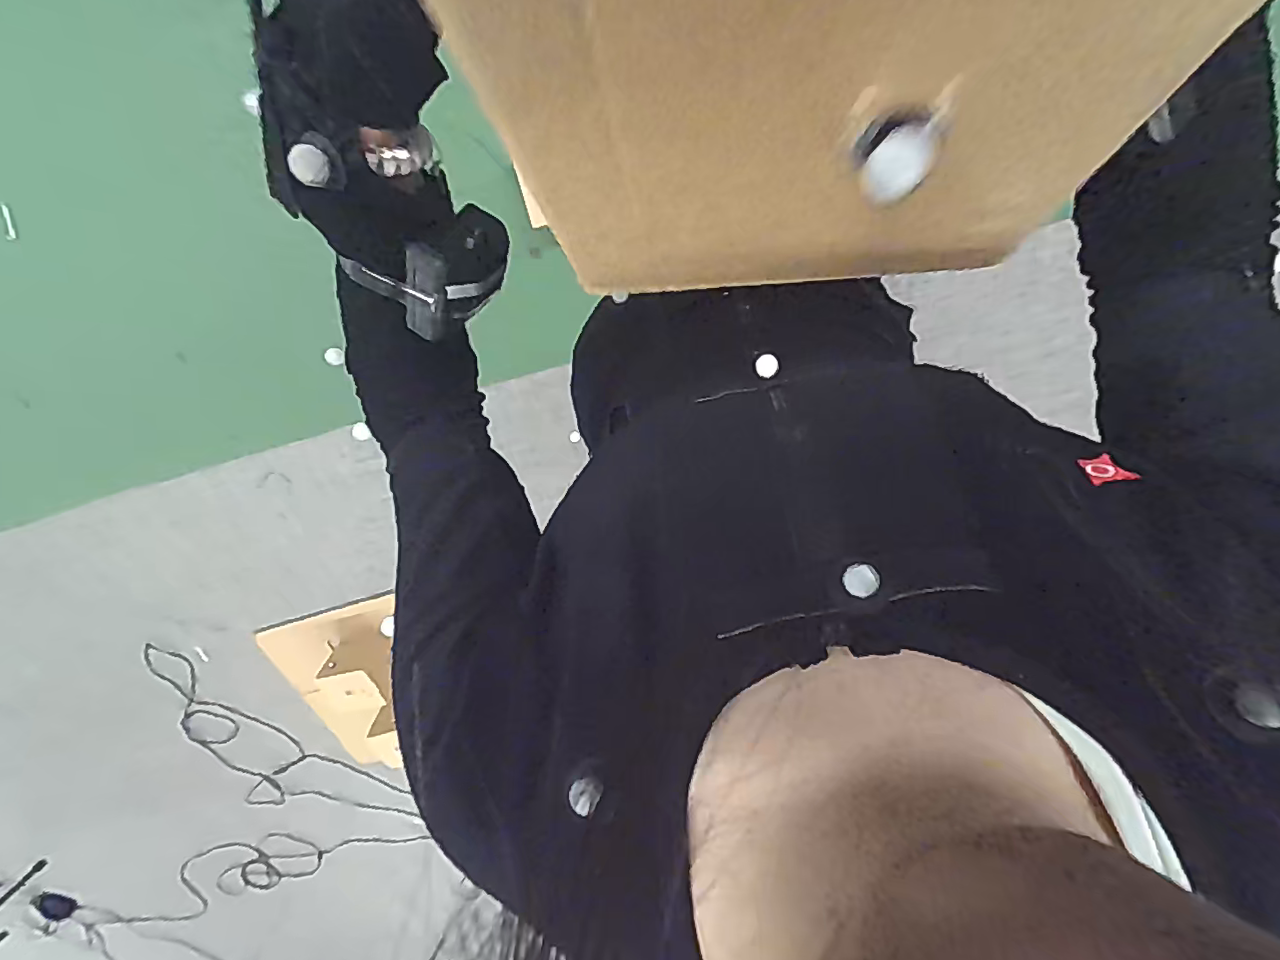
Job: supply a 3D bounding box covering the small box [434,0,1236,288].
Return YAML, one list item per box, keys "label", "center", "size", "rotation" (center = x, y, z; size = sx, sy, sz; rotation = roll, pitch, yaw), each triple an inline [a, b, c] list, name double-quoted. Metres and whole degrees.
- label: "small box"
  center: [0.046, -0.172, 0.150]
  size: [0.168, 0.176, 0.179]
  rotation: [2, 89, 10]

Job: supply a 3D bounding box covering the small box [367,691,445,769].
- label: "small box"
  center: [-0.807, 0.871, 1.897]
  size: [0.179, 0.176, 0.168]
  rotation: [-19, 115, 9]

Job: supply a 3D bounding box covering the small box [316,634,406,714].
- label: "small box"
  center: [-0.913, 0.636, 1.786]
  size: [0.179, 0.176, 0.168]
  rotation: [-13, 116, 6]
